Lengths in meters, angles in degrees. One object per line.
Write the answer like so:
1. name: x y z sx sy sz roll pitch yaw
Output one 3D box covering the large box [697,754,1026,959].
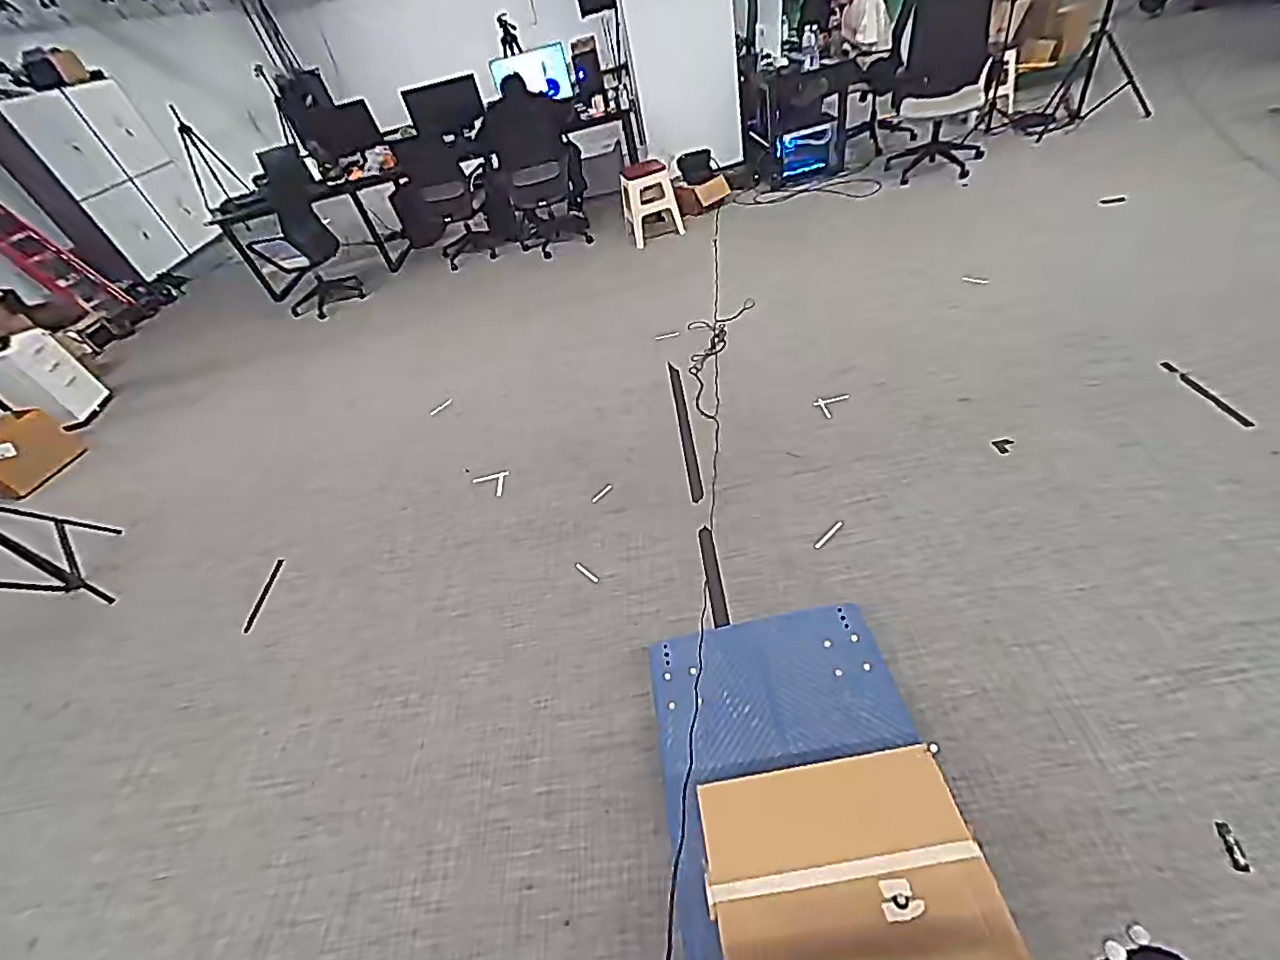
1. large box: 0.334 0.714 0.906 0.408 0.320 0.320 -13 42 4
